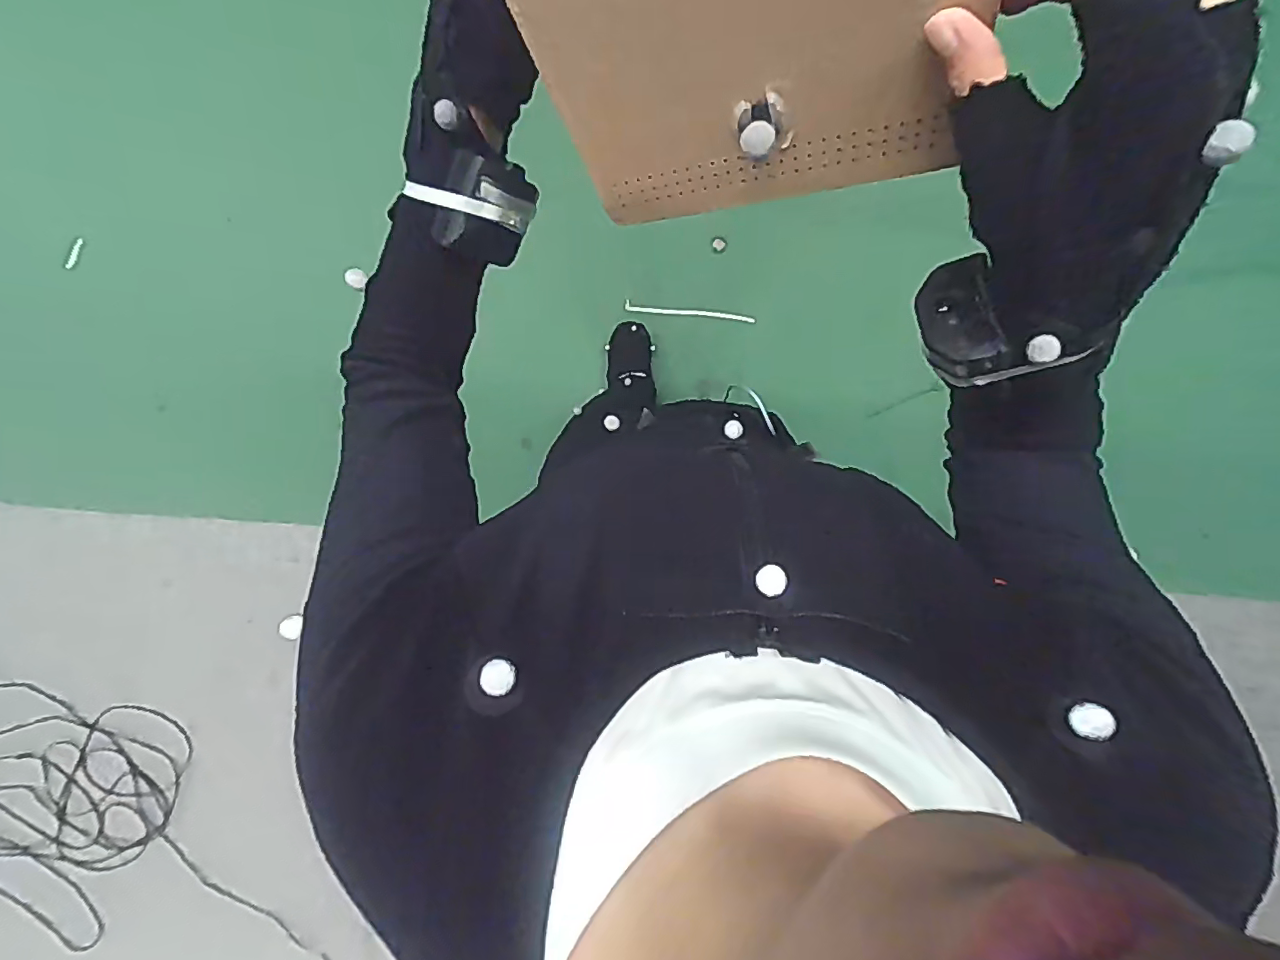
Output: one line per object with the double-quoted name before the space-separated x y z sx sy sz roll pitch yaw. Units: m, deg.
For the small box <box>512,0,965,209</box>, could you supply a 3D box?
"small box" 0.048 -0.257 0.242 0.179 0.176 0.168 0 67 20
